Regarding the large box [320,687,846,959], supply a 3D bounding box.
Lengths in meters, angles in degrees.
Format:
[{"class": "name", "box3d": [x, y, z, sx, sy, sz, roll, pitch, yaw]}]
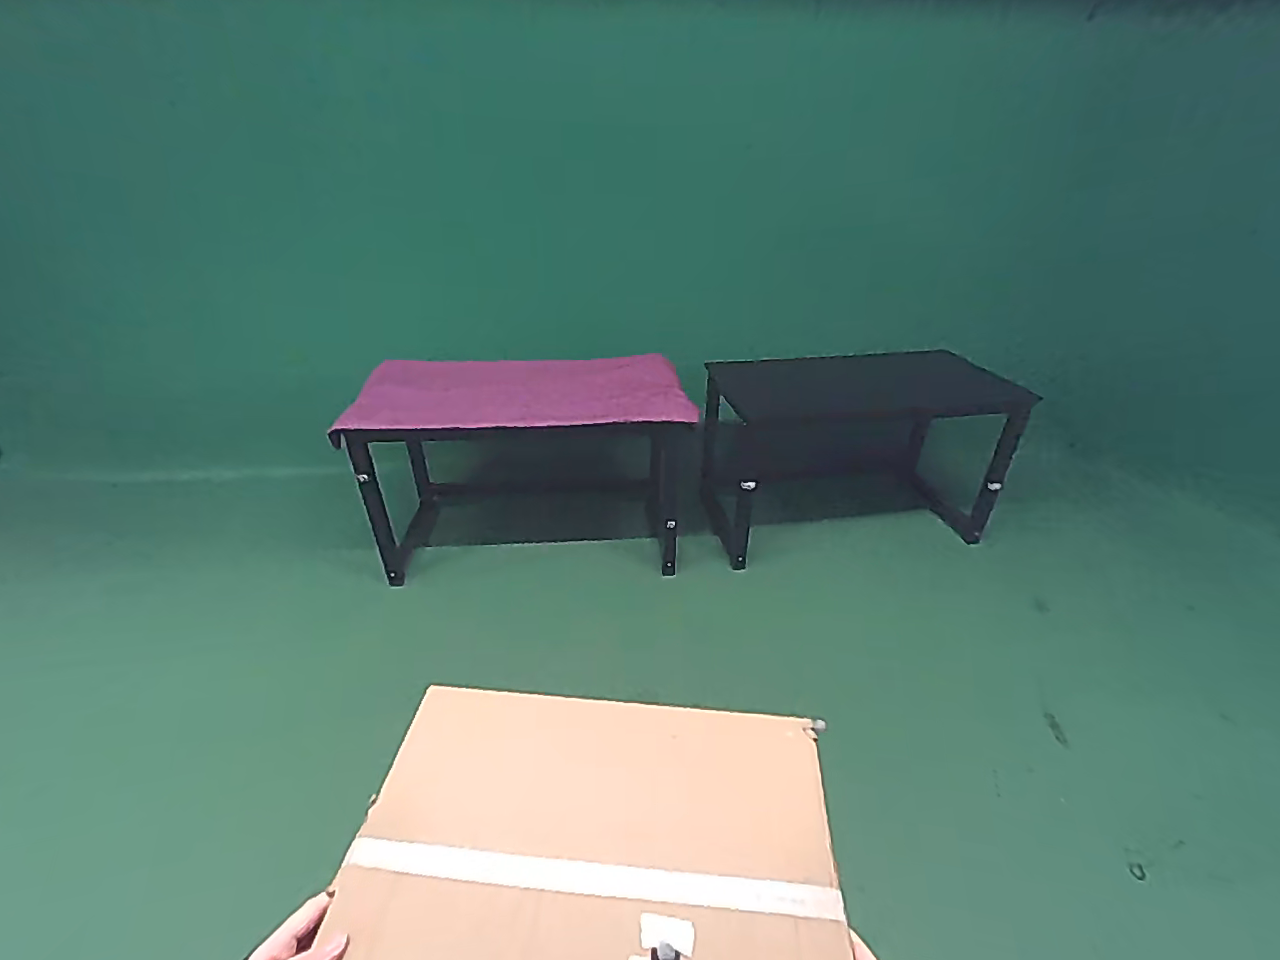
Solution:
[{"class": "large box", "box3d": [-0.040, 0.445, 0.545, 0.408, 0.320, 0.320, 4, 38, 4]}]
